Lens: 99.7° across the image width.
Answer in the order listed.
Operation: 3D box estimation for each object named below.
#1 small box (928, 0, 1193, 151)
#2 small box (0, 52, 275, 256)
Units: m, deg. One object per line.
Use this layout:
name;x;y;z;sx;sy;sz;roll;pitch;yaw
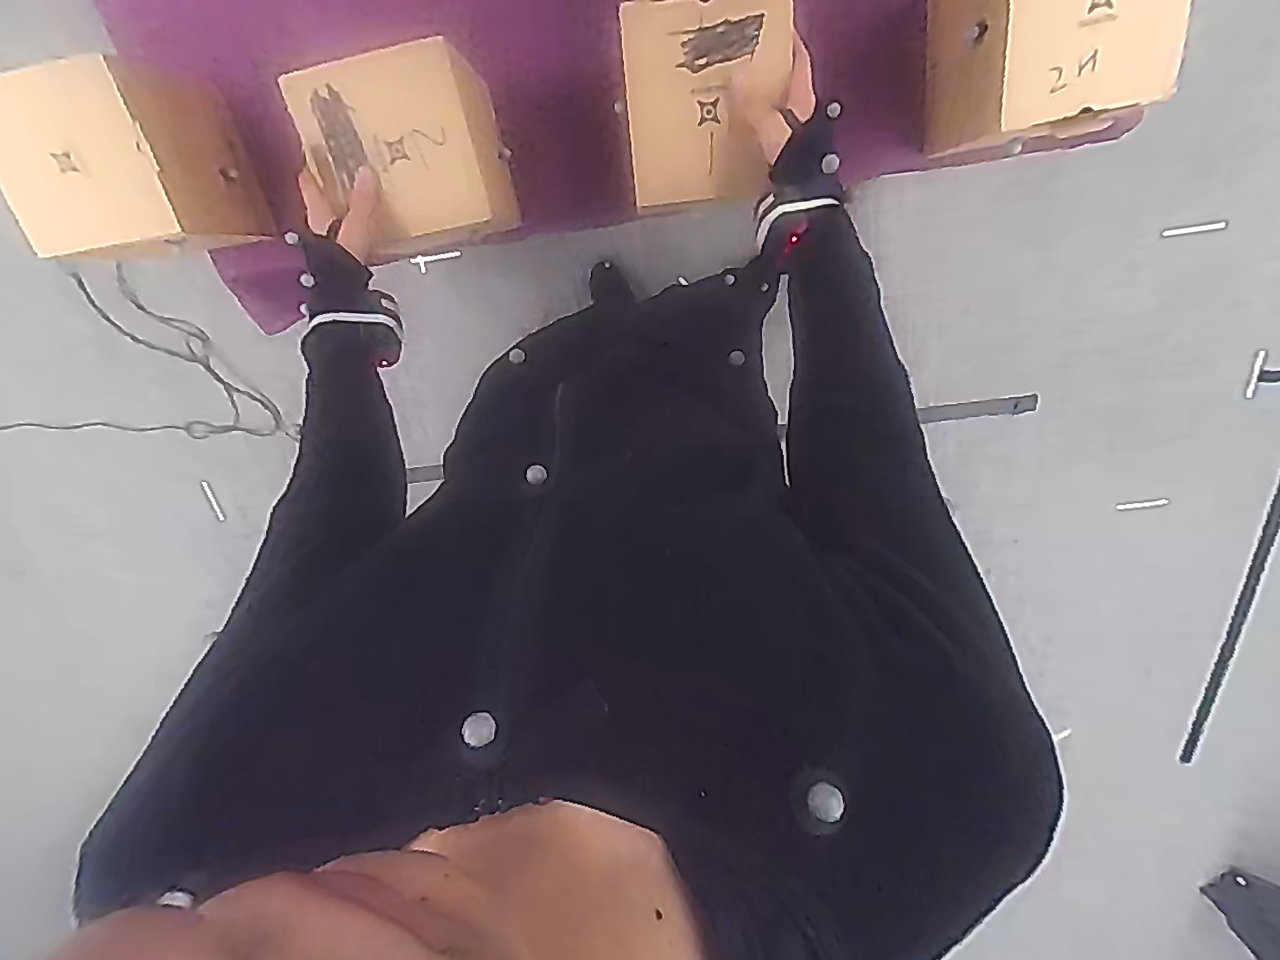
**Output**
small box;0.427;-0.474;0.573;0.168;0.176;0.179;-9;113;6
small box;-0.588;-0.364;0.638;0.179;0.176;0.168;-9;113;3
